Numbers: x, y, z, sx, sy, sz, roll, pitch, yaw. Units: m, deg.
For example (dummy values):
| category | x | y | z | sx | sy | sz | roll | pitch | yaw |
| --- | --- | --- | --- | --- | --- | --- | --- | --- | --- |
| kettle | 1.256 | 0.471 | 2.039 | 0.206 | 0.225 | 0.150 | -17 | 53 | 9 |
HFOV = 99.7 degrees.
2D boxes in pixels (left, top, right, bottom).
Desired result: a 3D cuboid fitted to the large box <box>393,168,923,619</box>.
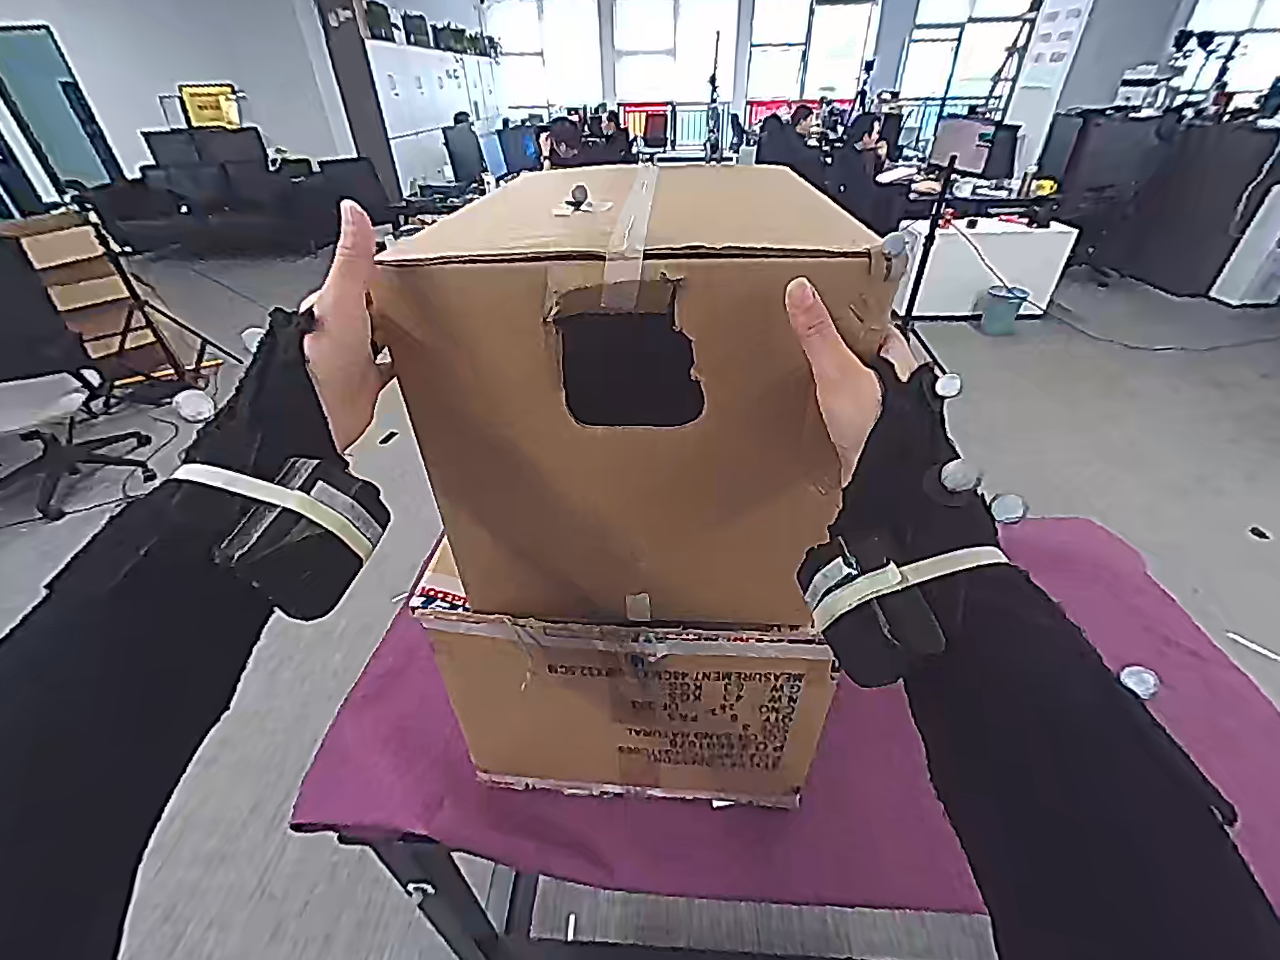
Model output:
| category | x | y | z | sx | sy | sz | roll | pitch | yaw |
| --- | --- | --- | --- | --- | --- | --- | --- | --- | --- |
| large box | 0.015 | -0.115 | 0.552 | 0.320 | 0.320 | 0.408 | -1 | 36 | 4 |
